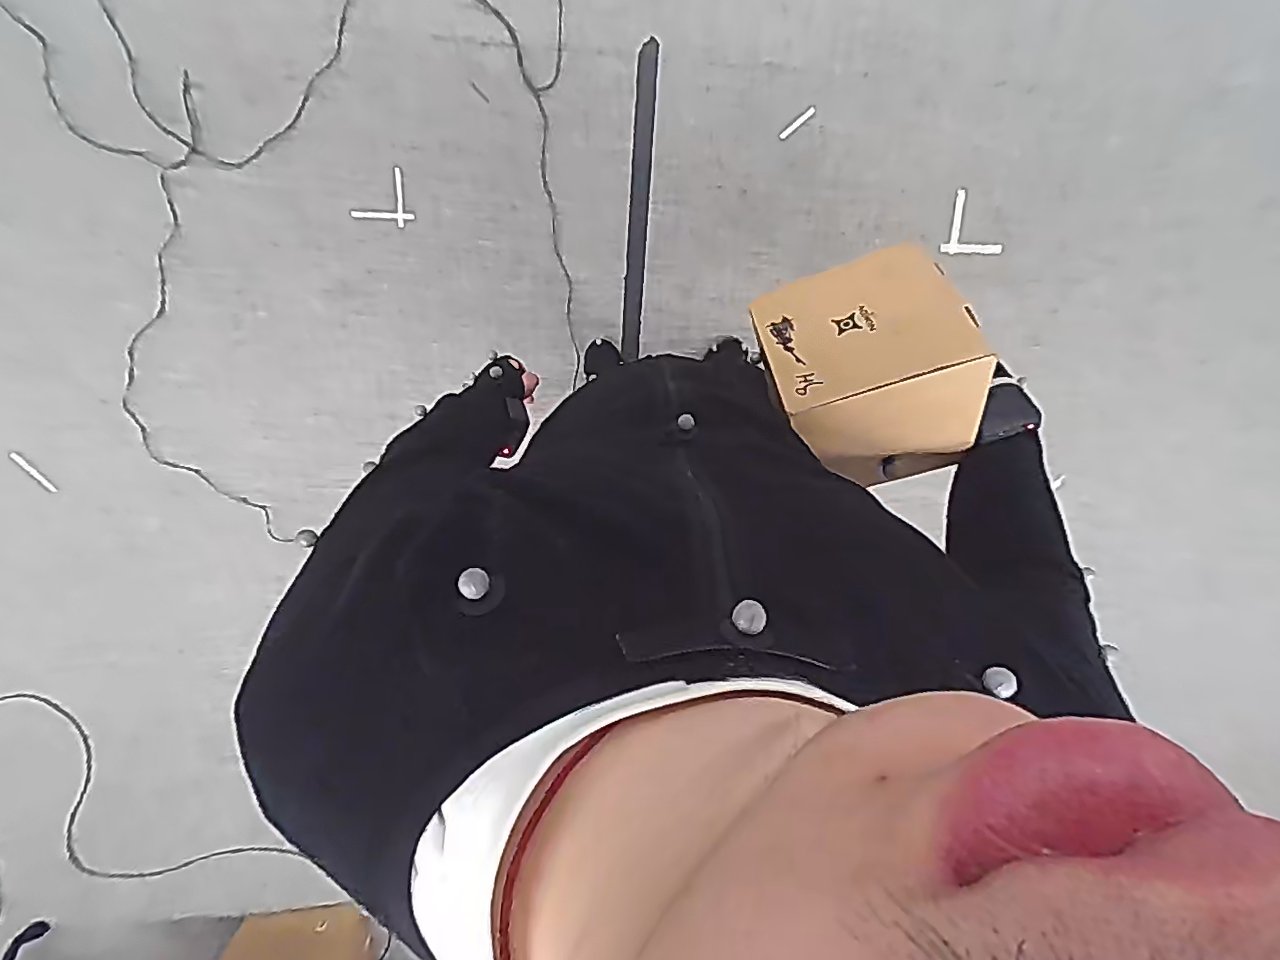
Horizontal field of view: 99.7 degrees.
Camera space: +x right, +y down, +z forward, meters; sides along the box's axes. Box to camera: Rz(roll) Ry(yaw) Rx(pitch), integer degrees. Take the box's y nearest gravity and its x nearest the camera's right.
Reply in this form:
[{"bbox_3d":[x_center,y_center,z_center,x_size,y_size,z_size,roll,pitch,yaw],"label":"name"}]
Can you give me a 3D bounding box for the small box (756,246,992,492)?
[{"bbox_3d":[0.239,-0.110,0.588,0.179,0.168,0.176,-16,144,13],"label":"small box"}]
